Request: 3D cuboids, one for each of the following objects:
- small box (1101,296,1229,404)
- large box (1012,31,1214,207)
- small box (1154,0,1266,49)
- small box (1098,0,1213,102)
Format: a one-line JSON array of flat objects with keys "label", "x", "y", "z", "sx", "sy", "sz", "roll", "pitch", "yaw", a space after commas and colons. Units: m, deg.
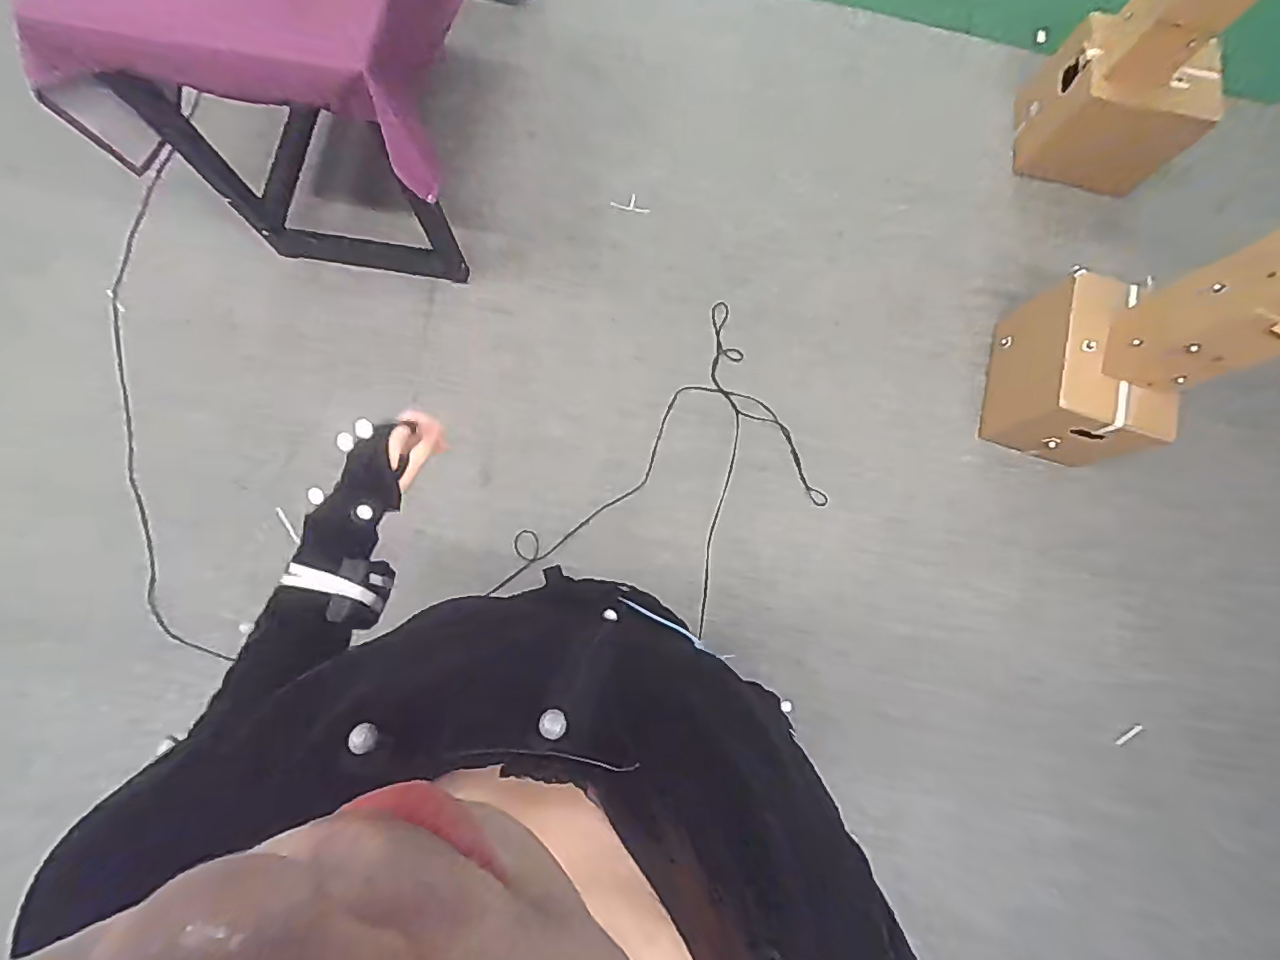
[{"label": "small box", "x": 1.286, "y": -0.309, "z": 1.325, "sx": 0.168, "sy": 0.176, "sz": 0.179, "roll": 21, "pitch": 78, "yaw": -1}, {"label": "large box", "x": 1.514, "y": -1.158, "z": 1.765, "sx": 0.408, "sy": 0.320, "sz": 0.320, "roll": 11, "pitch": 78, "yaw": -2}, {"label": "small box", "x": 1.451, "y": -1.239, "z": 1.359, "sx": 0.179, "sy": 0.176, "sz": 0.168, "roll": 13, "pitch": 78, "yaw": -2}, {"label": "small box", "x": 1.443, "y": -1.213, "z": 1.522, "sx": 0.179, "sy": 0.176, "sz": 0.168, "roll": 13, "pitch": 78, "yaw": -2}]
